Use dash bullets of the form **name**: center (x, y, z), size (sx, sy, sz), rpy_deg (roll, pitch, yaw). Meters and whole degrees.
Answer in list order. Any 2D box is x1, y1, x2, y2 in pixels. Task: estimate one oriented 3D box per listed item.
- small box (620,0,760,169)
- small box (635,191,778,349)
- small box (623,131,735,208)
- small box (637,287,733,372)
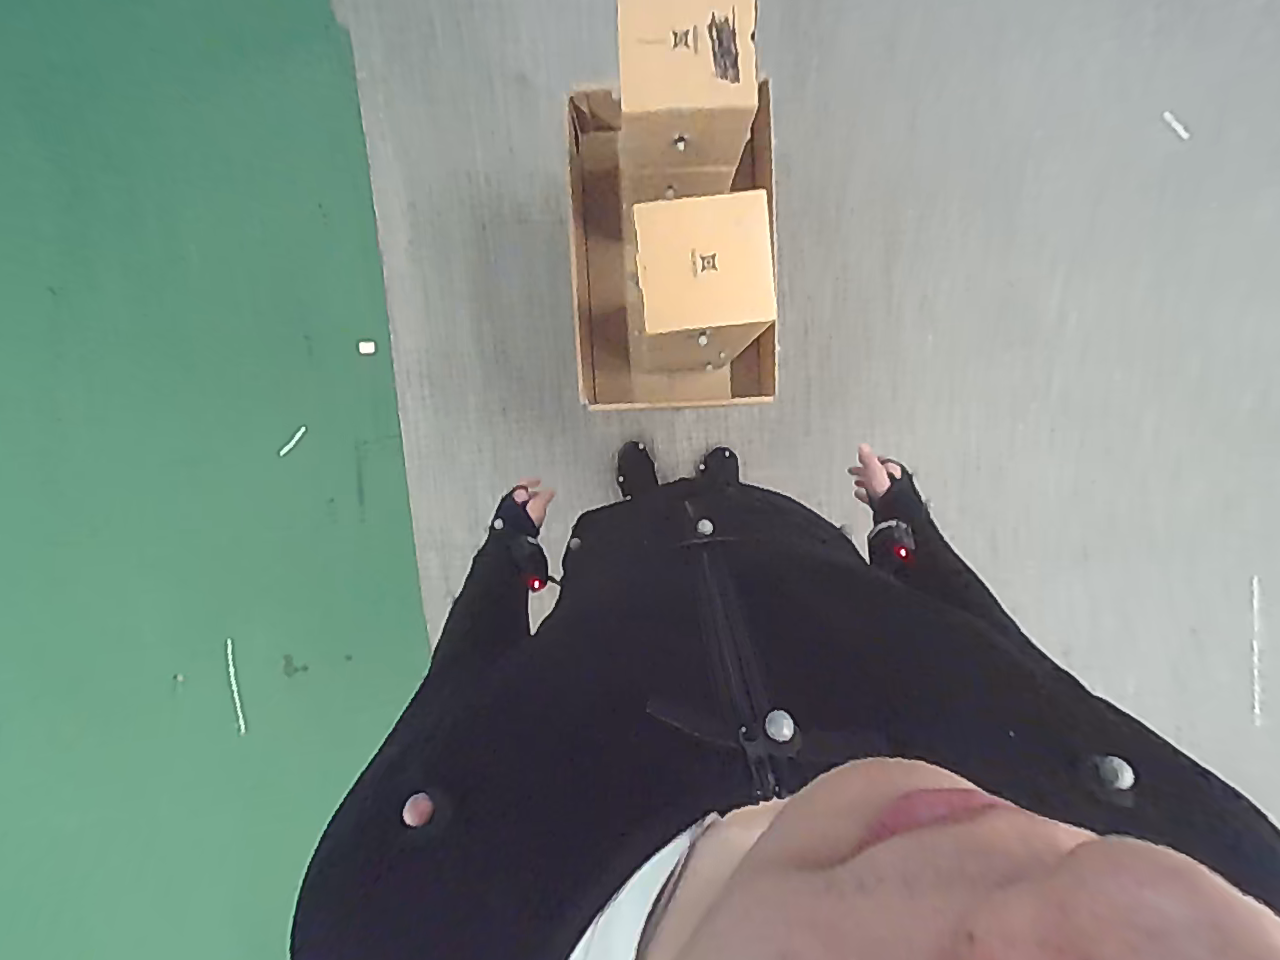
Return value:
- **small box**: center (0.063, -0.557, 0.753), size (0.179, 0.176, 0.168), rpy_deg (-2, 96, 1)
- **small box**: center (0.087, -0.288, 0.775), size (0.179, 0.176, 0.168), rpy_deg (-6, 95, 1)
- **small box**: center (0.064, -0.574, 0.917), size (0.179, 0.176, 0.168), rpy_deg (-1, 97, 1)
- **small box**: center (0.086, -0.316, 1.100), size (0.179, 0.176, 0.168), rpy_deg (-4, 94, 1)
